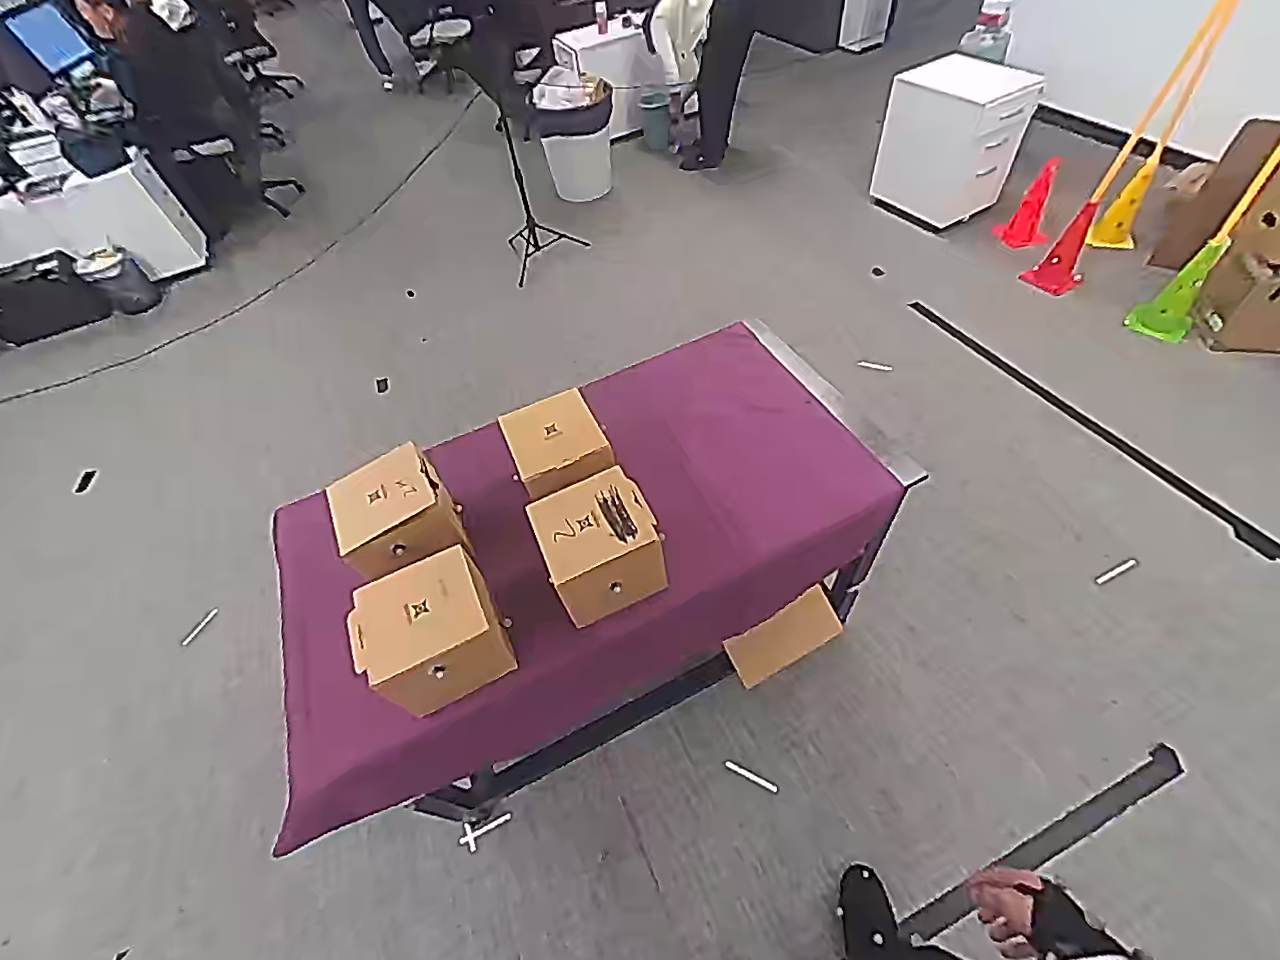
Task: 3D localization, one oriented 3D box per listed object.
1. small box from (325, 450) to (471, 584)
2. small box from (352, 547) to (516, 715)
[{"bbox_3d":[-0.439,0.084,0.995,0.179,0.176,0.168,-26,55,-13],"label":"small box"},{"bbox_3d":[-0.321,0.244,0.859,0.179,0.176,0.168,-25,54,-12],"label":"small box"}]
